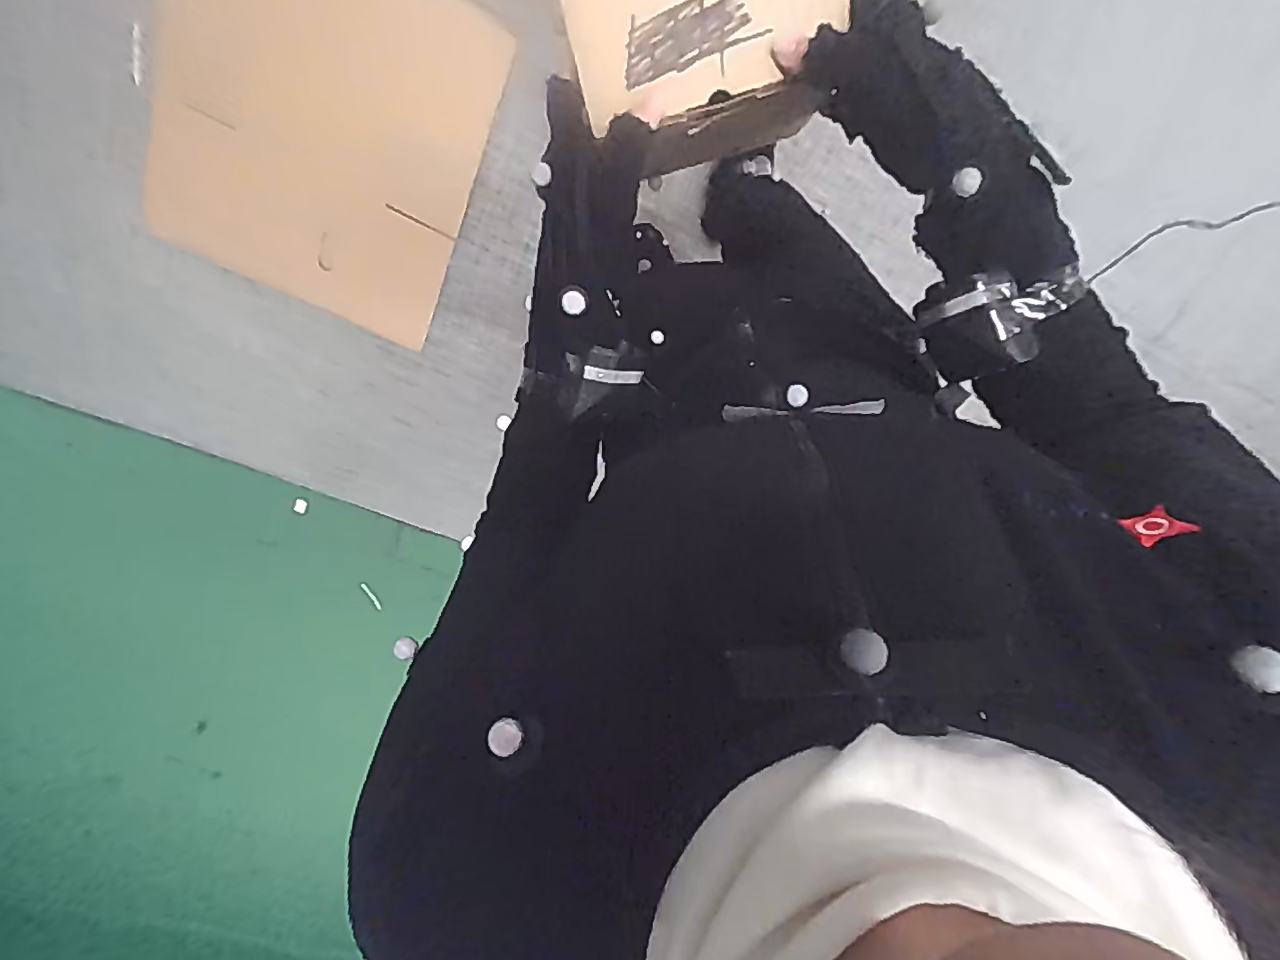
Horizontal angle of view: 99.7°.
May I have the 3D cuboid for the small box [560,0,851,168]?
[{"bbox_3d":[0.034,-0.348,0.389,0.168,0.176,0.179,-15,109,10],"label":"small box"}]
